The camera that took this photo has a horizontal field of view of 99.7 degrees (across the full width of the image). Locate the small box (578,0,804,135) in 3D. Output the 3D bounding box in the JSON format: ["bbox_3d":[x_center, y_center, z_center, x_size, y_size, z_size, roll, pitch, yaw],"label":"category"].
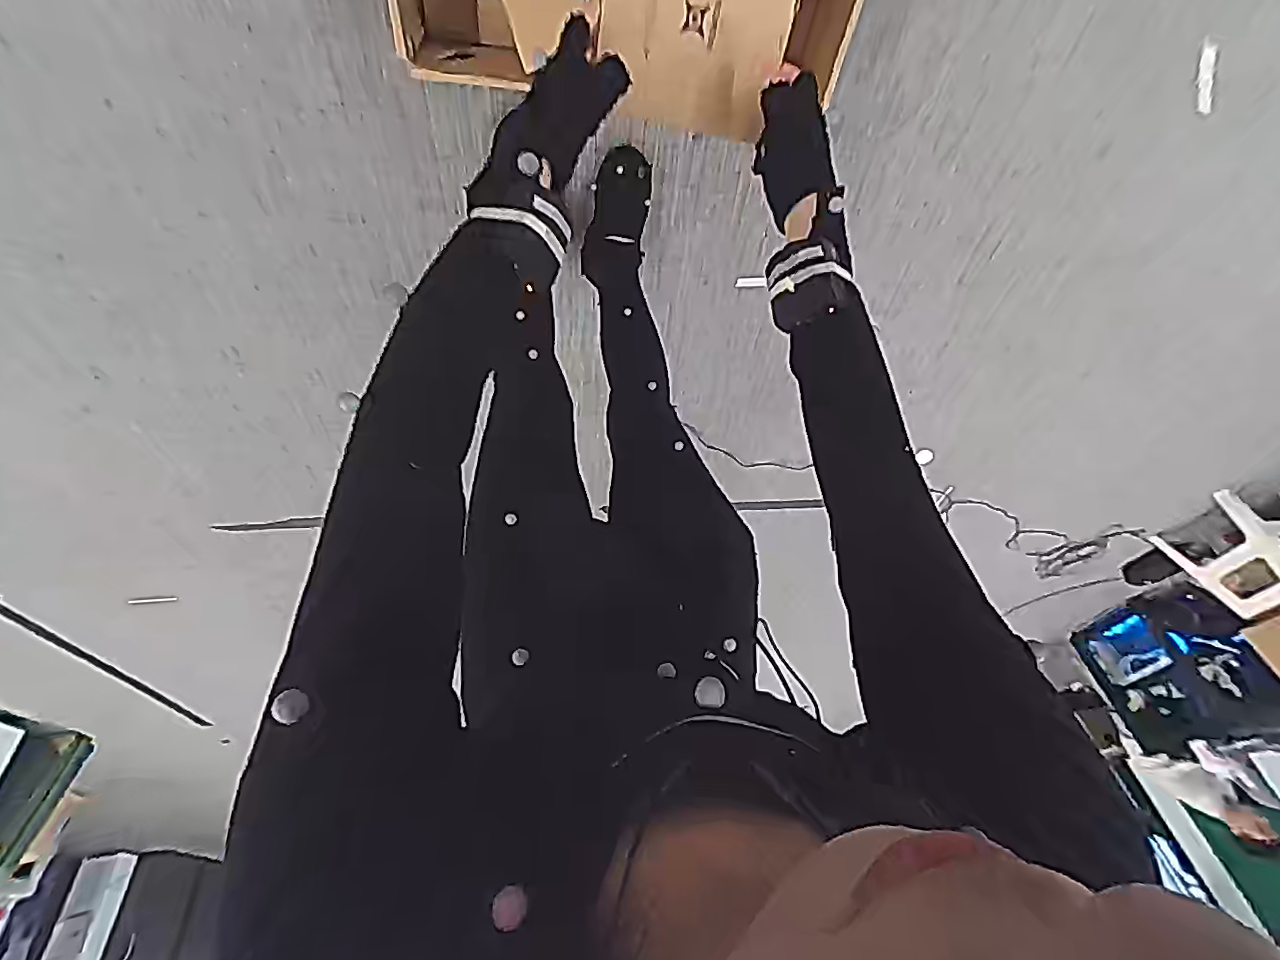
[{"bbox_3d":[0.041,-0.457,0.521,0.179,0.176,0.168,2,130,-14],"label":"small box"}]
